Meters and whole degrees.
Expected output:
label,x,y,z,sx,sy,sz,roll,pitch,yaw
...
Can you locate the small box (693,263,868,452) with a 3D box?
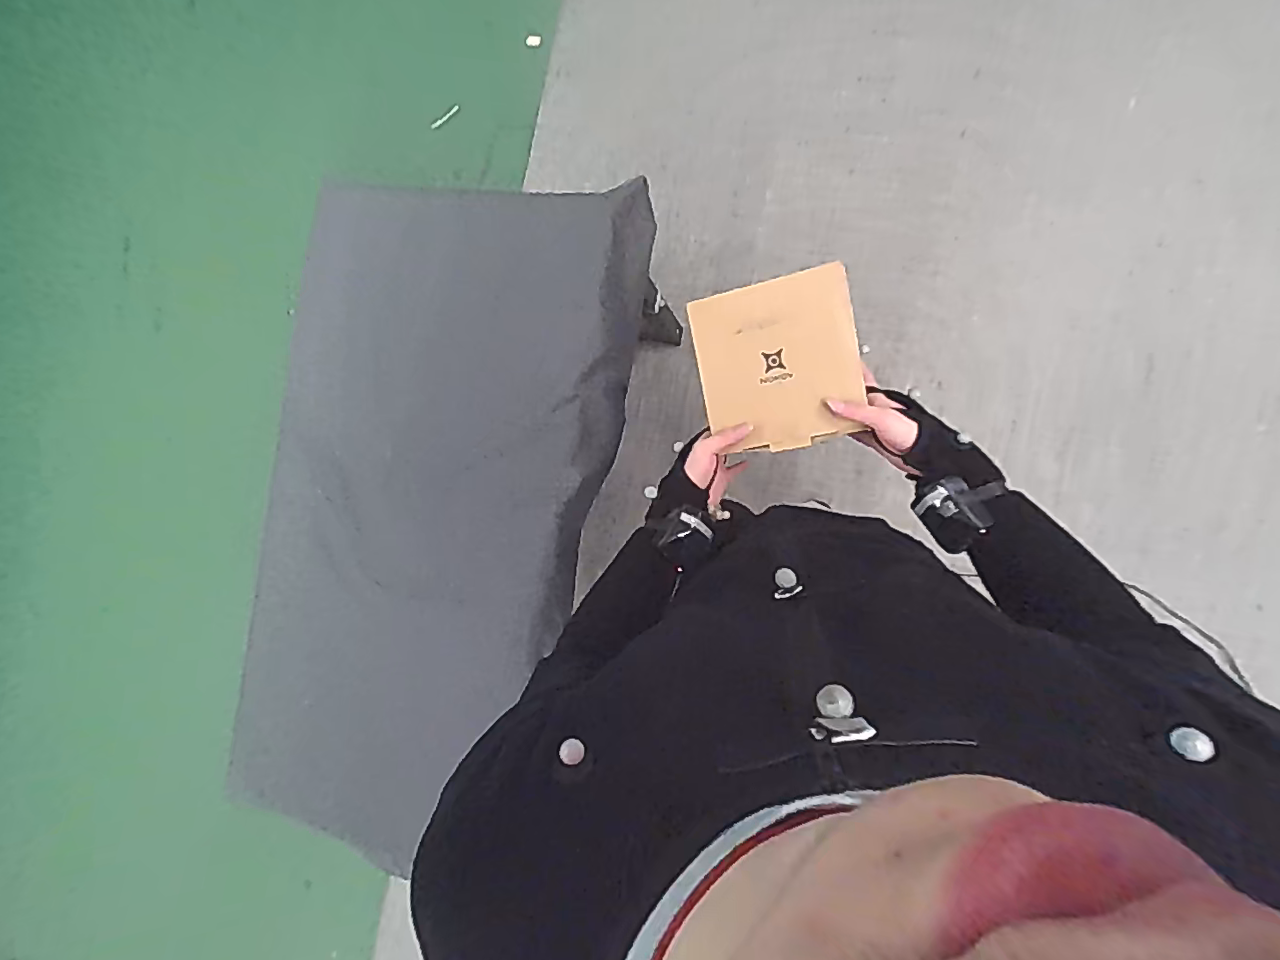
label,x,y,z,sx,sy,sz,roll,pitch,yaw
small box,0.172,-0.141,0.658,0.168,0.176,0.179,-9,97,17
